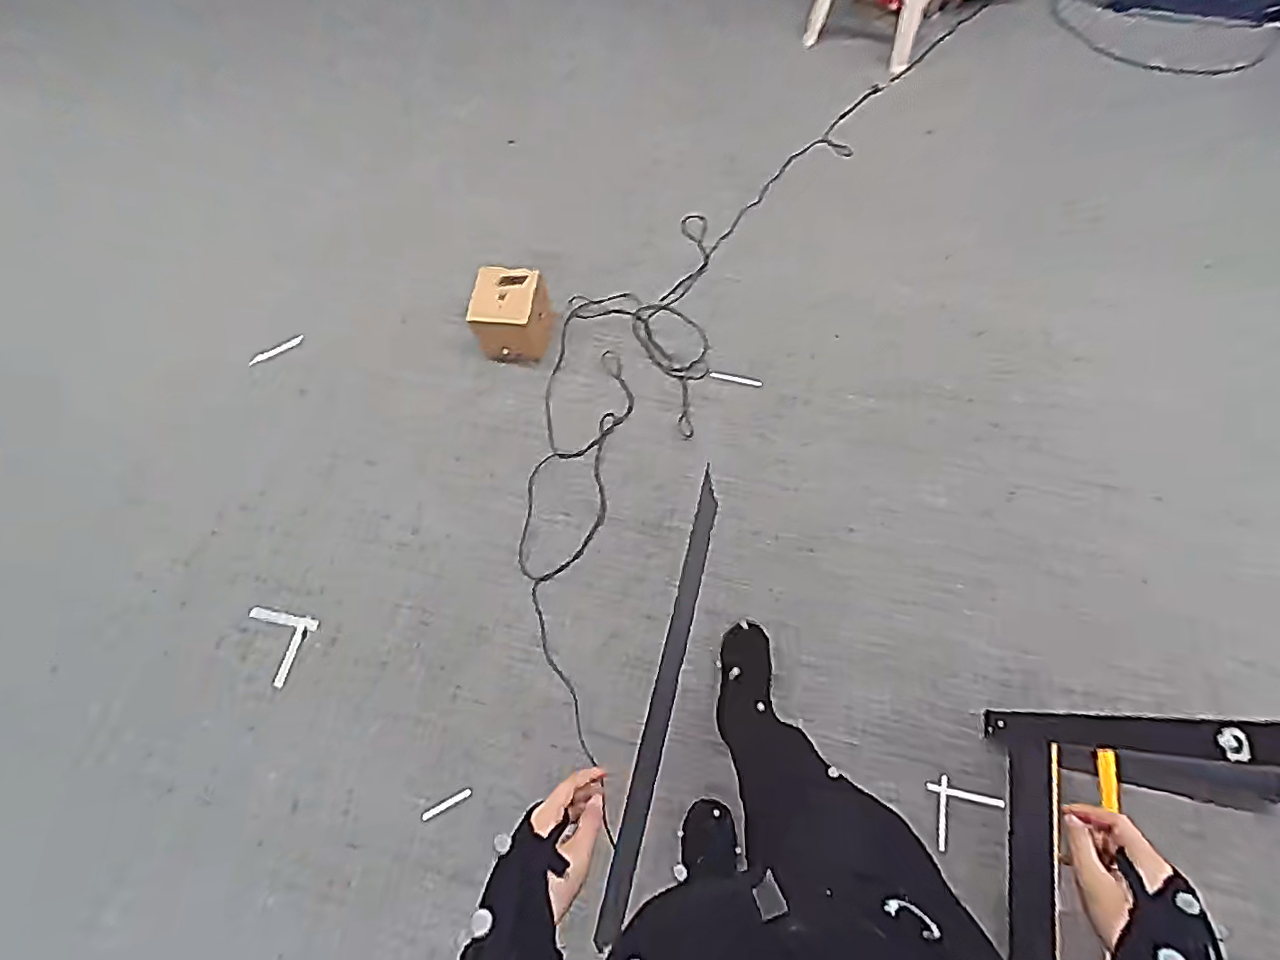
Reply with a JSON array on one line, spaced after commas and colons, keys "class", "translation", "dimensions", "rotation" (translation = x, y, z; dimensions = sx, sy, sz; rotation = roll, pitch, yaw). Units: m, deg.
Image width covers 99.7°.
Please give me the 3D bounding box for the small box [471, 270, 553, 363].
[{"class": "small box", "translation": [-0.344, -0.449, 1.492], "dimensions": [0.168, 0.176, 0.179], "rotation": [6, 69, 6]}]
